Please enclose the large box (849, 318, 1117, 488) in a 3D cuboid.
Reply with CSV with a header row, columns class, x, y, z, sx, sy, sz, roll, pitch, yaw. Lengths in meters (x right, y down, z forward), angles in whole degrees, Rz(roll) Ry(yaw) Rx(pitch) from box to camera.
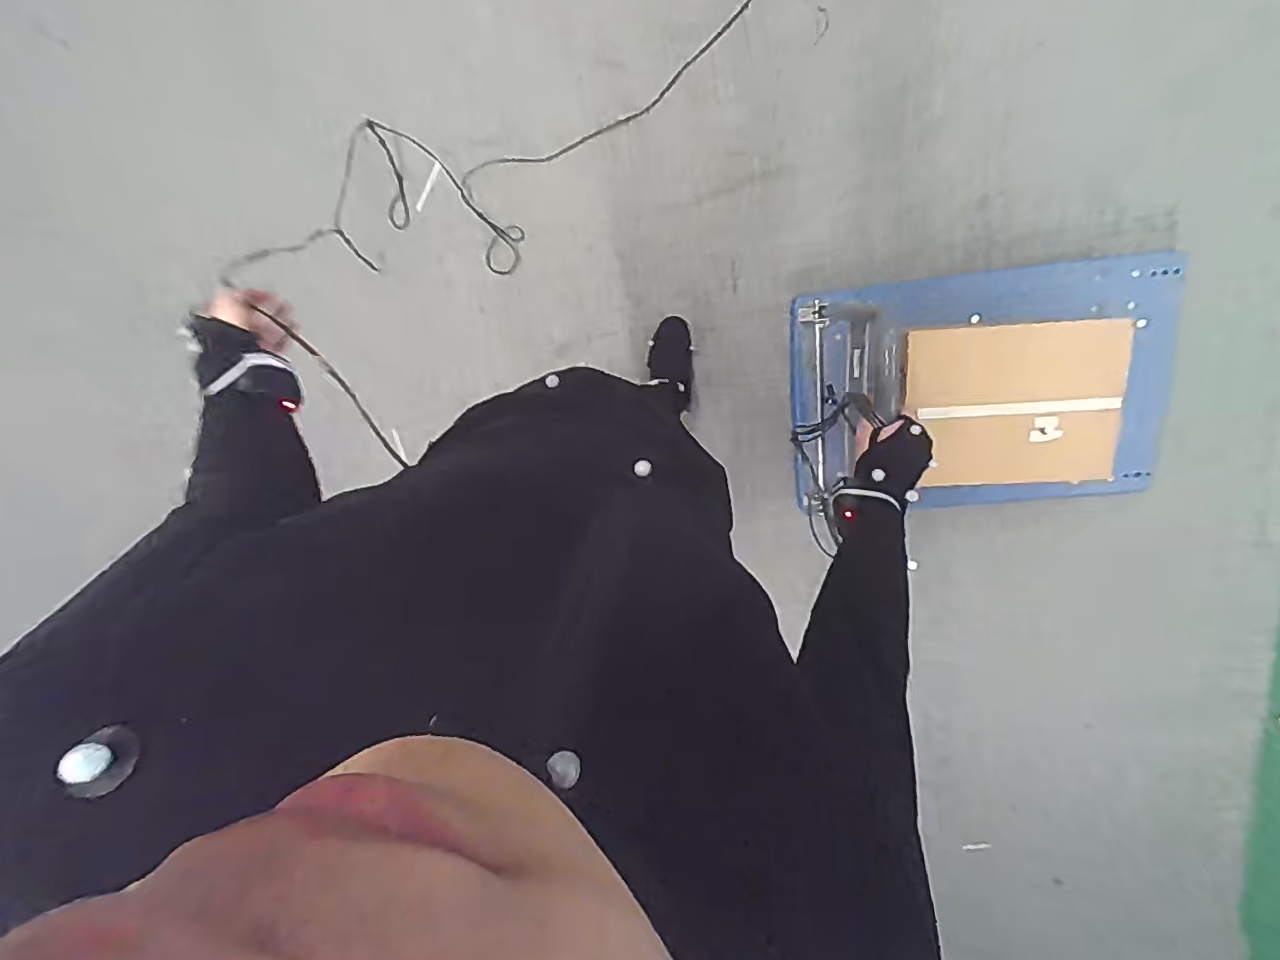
class,x,y,z,sx,sy,sz,roll,pitch,yaw
large box,0.712,-0.181,1.203,0.408,0.320,0.320,-3,106,5
